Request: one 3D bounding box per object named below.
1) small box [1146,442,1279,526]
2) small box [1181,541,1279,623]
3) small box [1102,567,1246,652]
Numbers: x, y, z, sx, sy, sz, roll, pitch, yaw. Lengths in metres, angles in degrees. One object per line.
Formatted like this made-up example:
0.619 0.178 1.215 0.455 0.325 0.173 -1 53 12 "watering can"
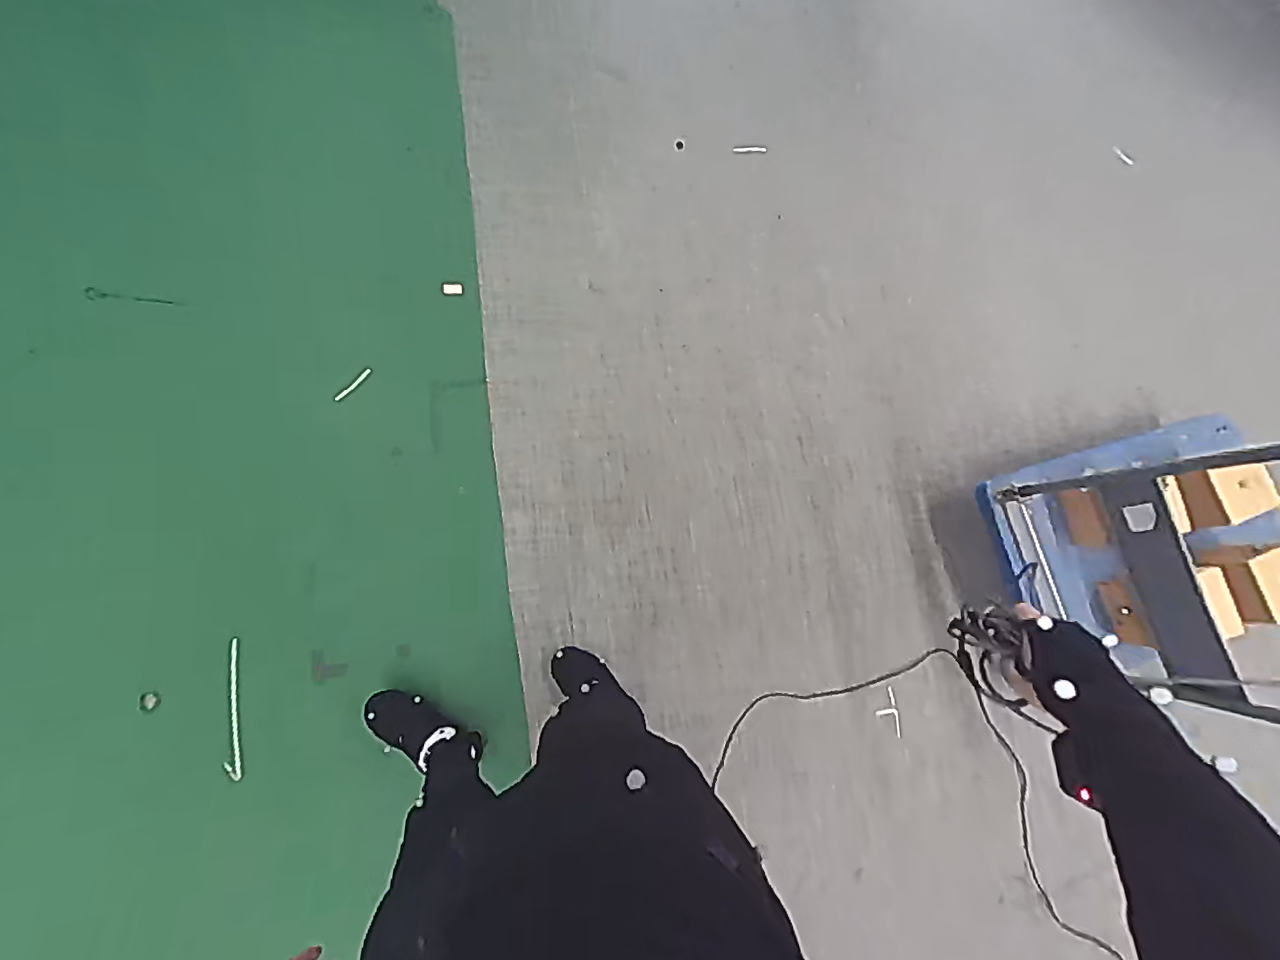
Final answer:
1.513 0.017 1.441 0.179 0.176 0.168 -19 84 -10 "small box"
1.593 0.260 1.410 0.179 0.176 0.168 -17 82 -9 "small box"
1.340 0.319 1.368 0.179 0.176 0.168 -14 82 -9 "small box"
